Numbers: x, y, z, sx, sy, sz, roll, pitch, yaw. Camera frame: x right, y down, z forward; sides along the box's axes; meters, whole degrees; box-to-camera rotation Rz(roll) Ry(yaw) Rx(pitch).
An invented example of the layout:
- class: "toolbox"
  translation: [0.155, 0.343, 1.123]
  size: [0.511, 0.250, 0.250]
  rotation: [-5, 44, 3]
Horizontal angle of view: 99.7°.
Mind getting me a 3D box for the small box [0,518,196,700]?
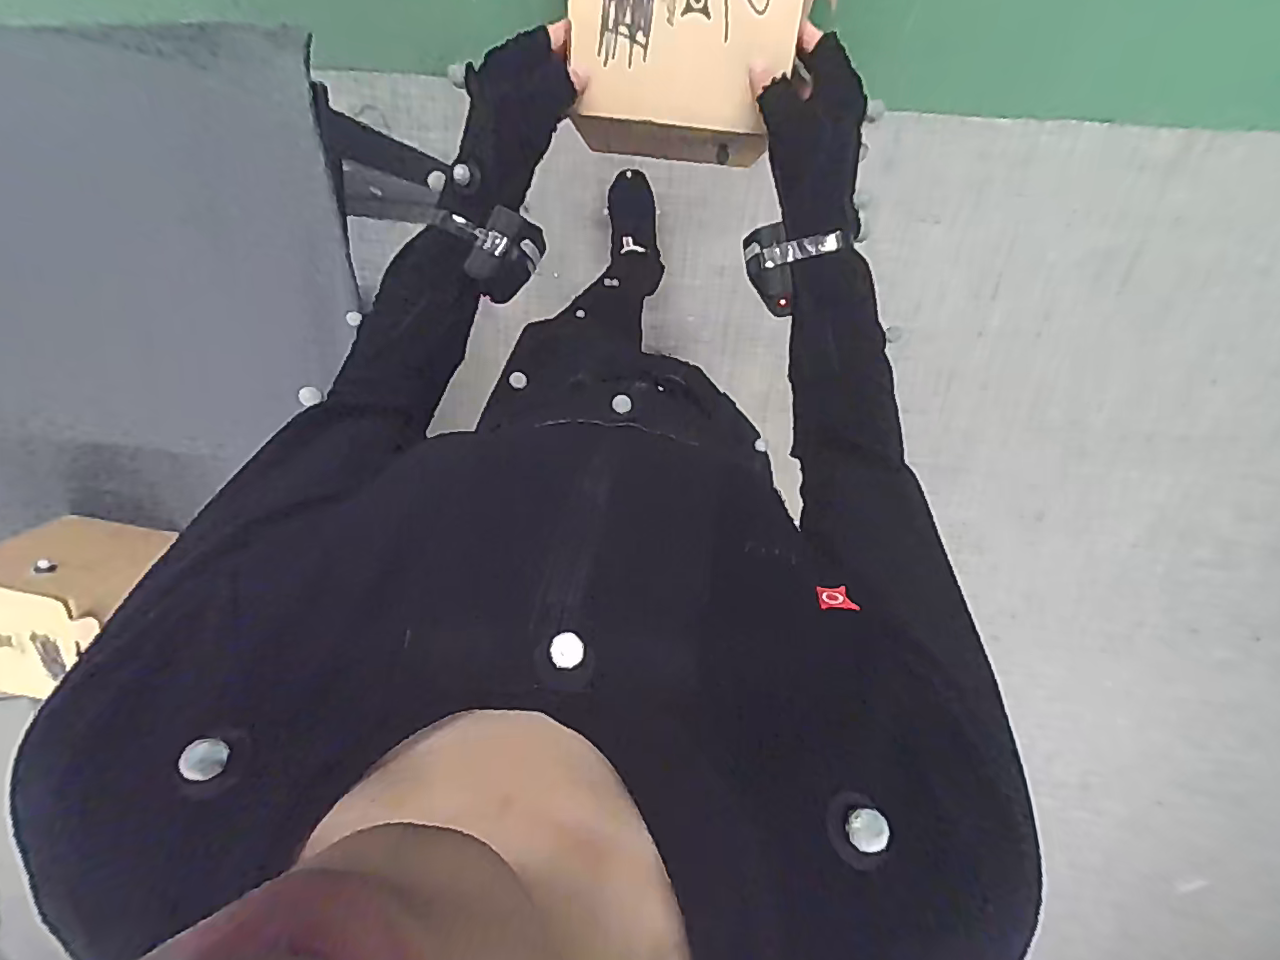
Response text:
- class: "small box"
  translation: [-0.755, 0.166, 0.739]
  size: [0.179, 0.176, 0.168]
  rotation: [10, 111, 0]
